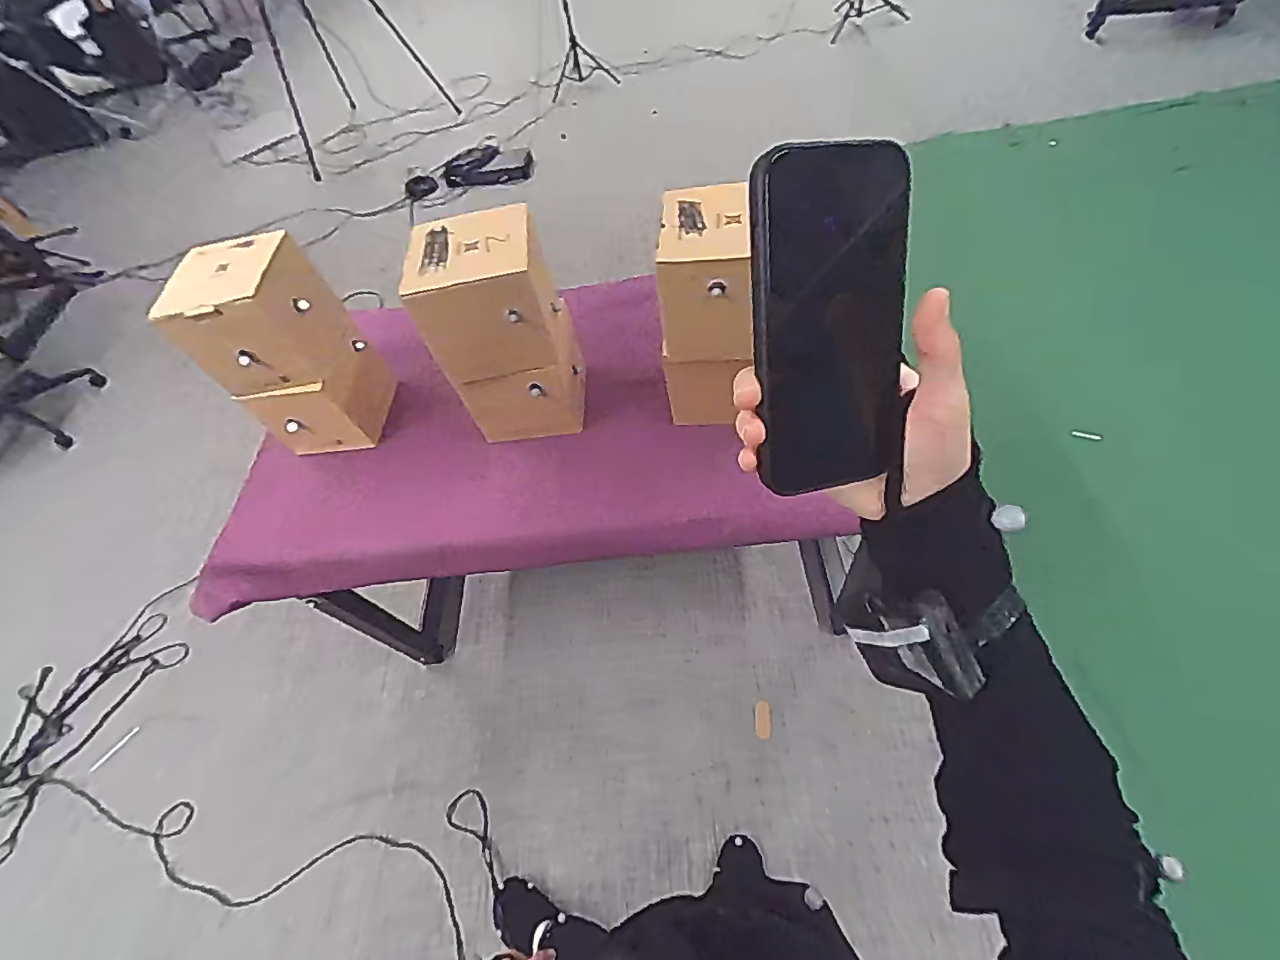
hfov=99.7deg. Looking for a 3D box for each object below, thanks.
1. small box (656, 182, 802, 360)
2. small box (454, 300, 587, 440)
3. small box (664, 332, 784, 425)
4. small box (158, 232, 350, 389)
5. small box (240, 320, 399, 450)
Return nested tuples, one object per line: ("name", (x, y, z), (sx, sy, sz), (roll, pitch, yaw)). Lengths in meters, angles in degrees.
("small box", (0.125, -0.283, 0.754), (0.179, 0.176, 0.168), (0, 56, 10))
("small box", (-0.195, -0.187, 0.947), (0.179, 0.176, 0.168), (-5, 56, 7))
("small box", (0.142, -0.205, 0.898), (0.179, 0.176, 0.168), (0, 56, 11))
("small box", (-0.606, -0.265, 0.878), (0.168, 0.176, 0.179), (-9, 56, 4))
("small box", (-0.581, -0.168, 1.009), (0.168, 0.176, 0.179), (-5, 56, 8))
